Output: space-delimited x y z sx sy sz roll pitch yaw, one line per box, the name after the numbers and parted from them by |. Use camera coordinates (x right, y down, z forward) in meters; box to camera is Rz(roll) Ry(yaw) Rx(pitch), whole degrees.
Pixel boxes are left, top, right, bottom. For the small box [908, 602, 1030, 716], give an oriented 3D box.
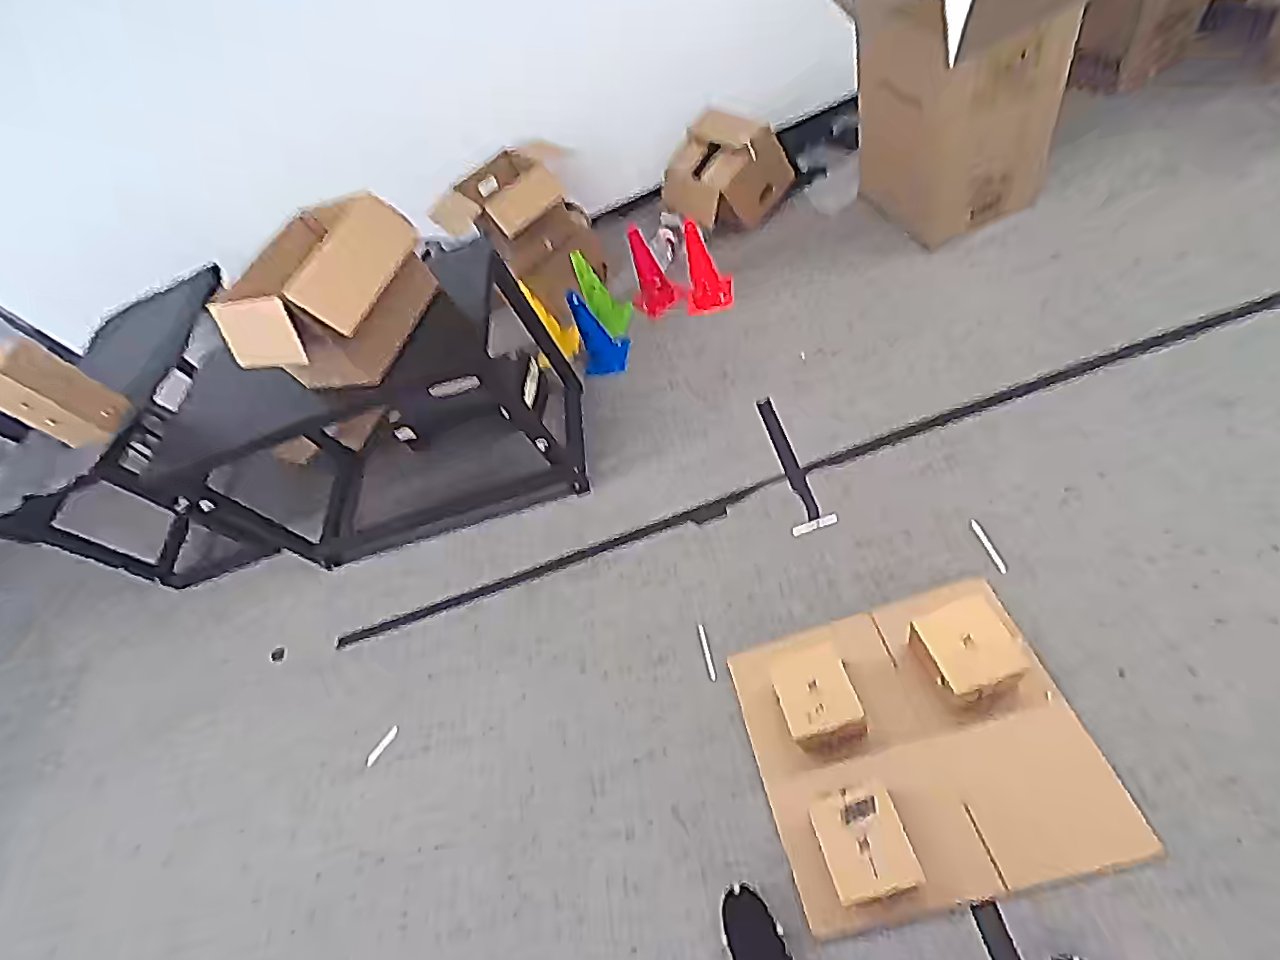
0.736 0.412 1.236 0.168 0.176 0.179 -24 51 6 | small box

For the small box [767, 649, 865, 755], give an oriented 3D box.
0.417 0.530 1.284 0.168 0.176 0.179 -22 52 9 | small box

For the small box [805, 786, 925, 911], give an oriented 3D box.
0.457 0.755 1.113 0.168 0.176 0.179 -23 53 8 | small box
